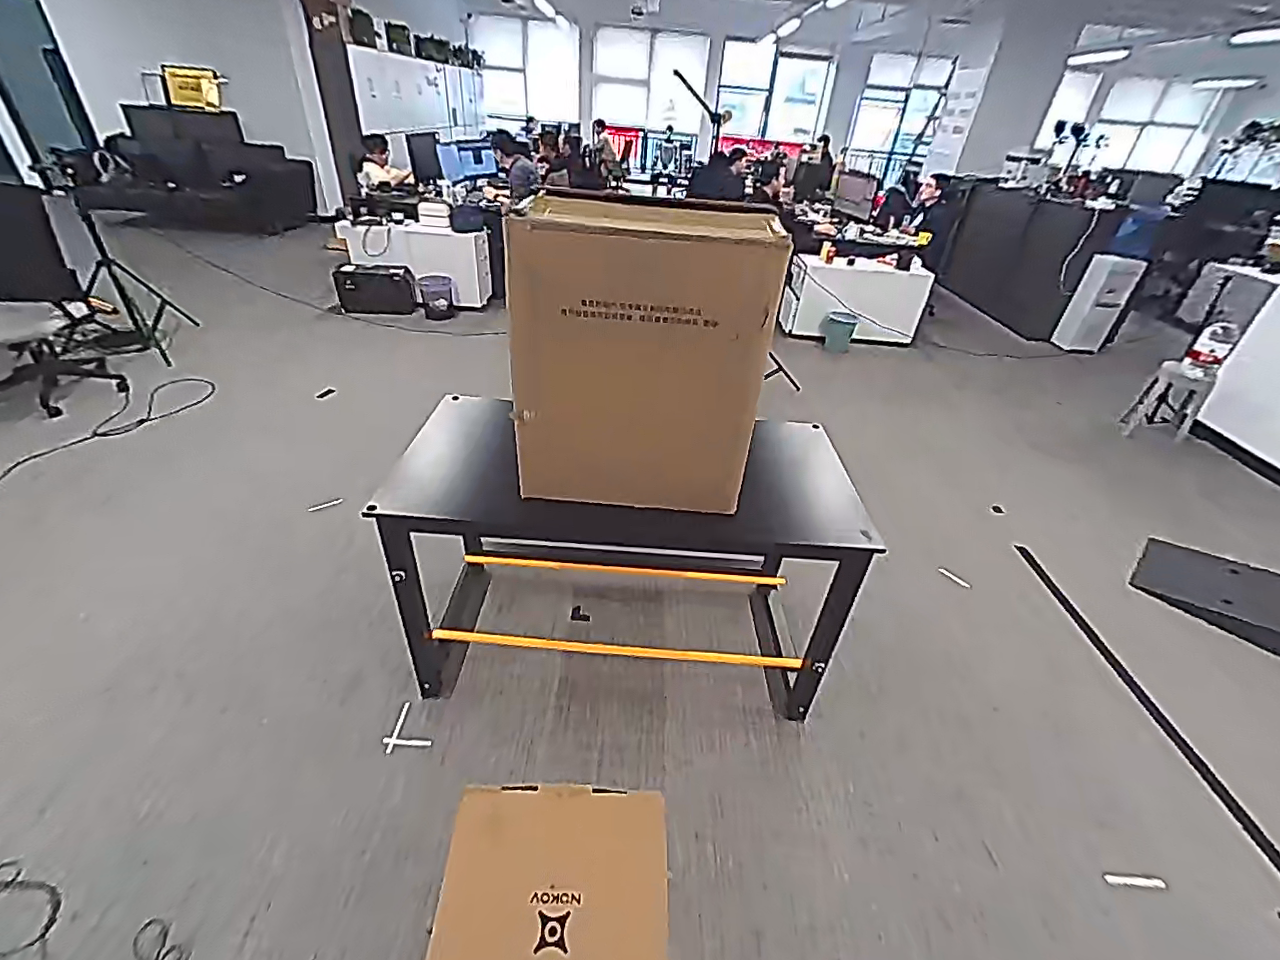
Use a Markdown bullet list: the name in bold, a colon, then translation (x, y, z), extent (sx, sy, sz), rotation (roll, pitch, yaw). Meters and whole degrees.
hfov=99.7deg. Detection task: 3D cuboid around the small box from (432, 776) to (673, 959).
- **small box**: translation (-0.066, 0.366, 0.439), extent (0.168, 0.176, 0.179), rotation (4, 43, -3)
